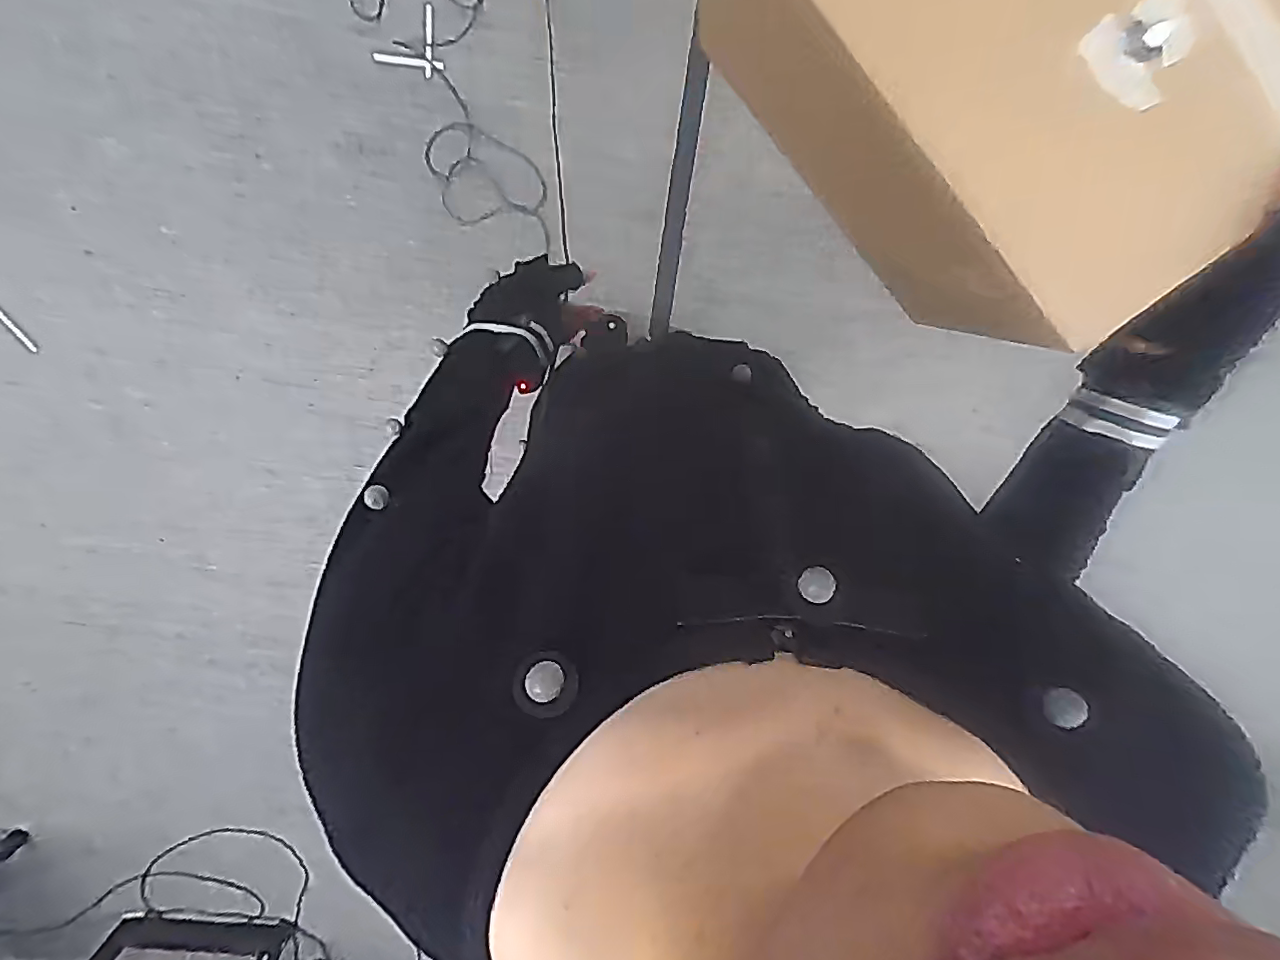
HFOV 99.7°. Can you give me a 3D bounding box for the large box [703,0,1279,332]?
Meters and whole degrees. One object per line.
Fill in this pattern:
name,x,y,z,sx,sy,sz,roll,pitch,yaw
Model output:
large box,0.295,-0.386,0.446,0.320,0.320,0.408,-40,101,19
